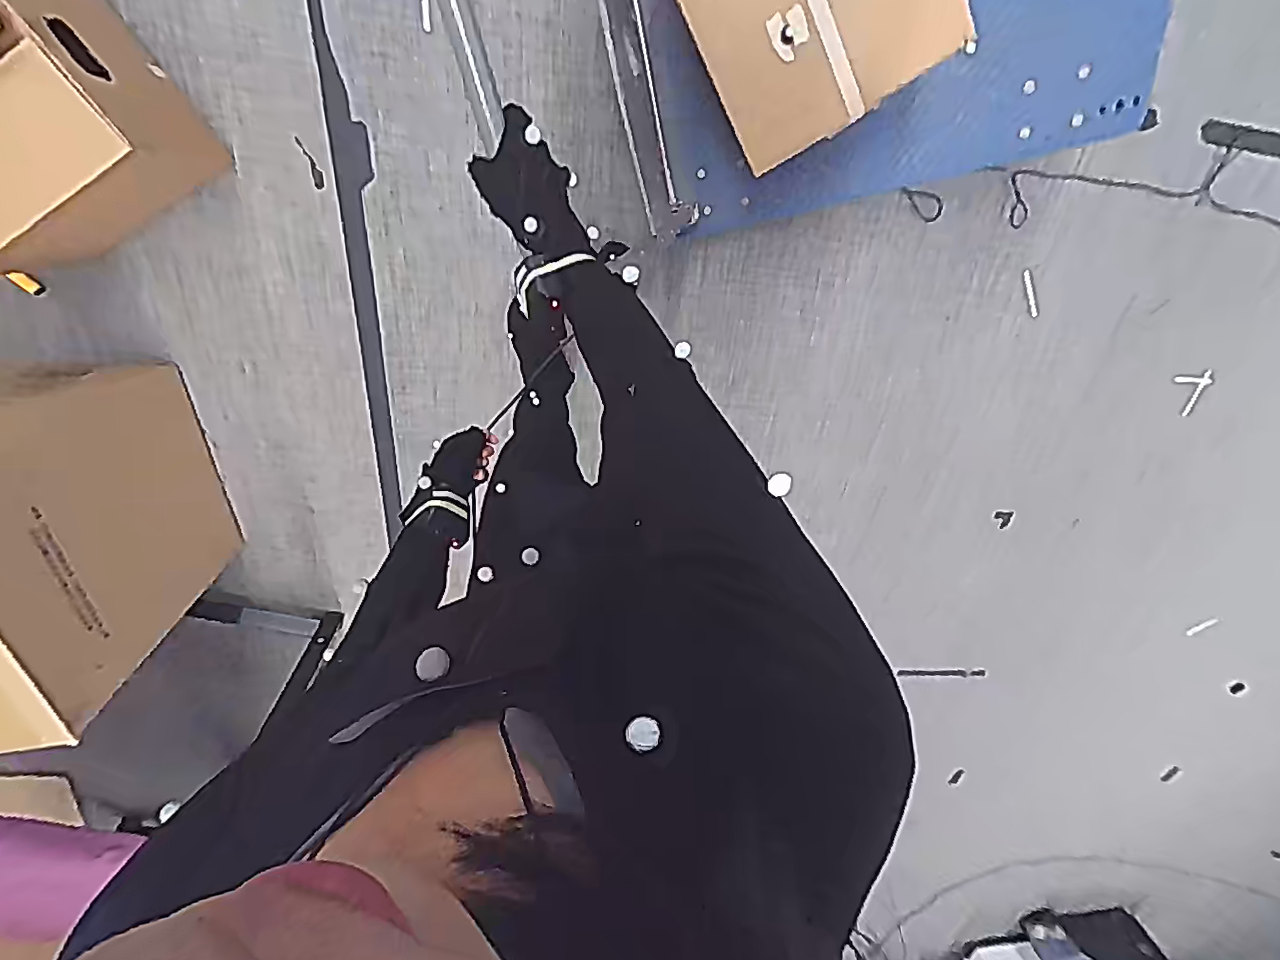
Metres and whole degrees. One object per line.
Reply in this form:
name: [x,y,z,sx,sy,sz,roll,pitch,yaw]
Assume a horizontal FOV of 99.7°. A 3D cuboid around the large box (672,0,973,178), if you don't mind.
large box: [0.232,-0.749,0.823,0.320,0.320,0.408,-24,115,25]
